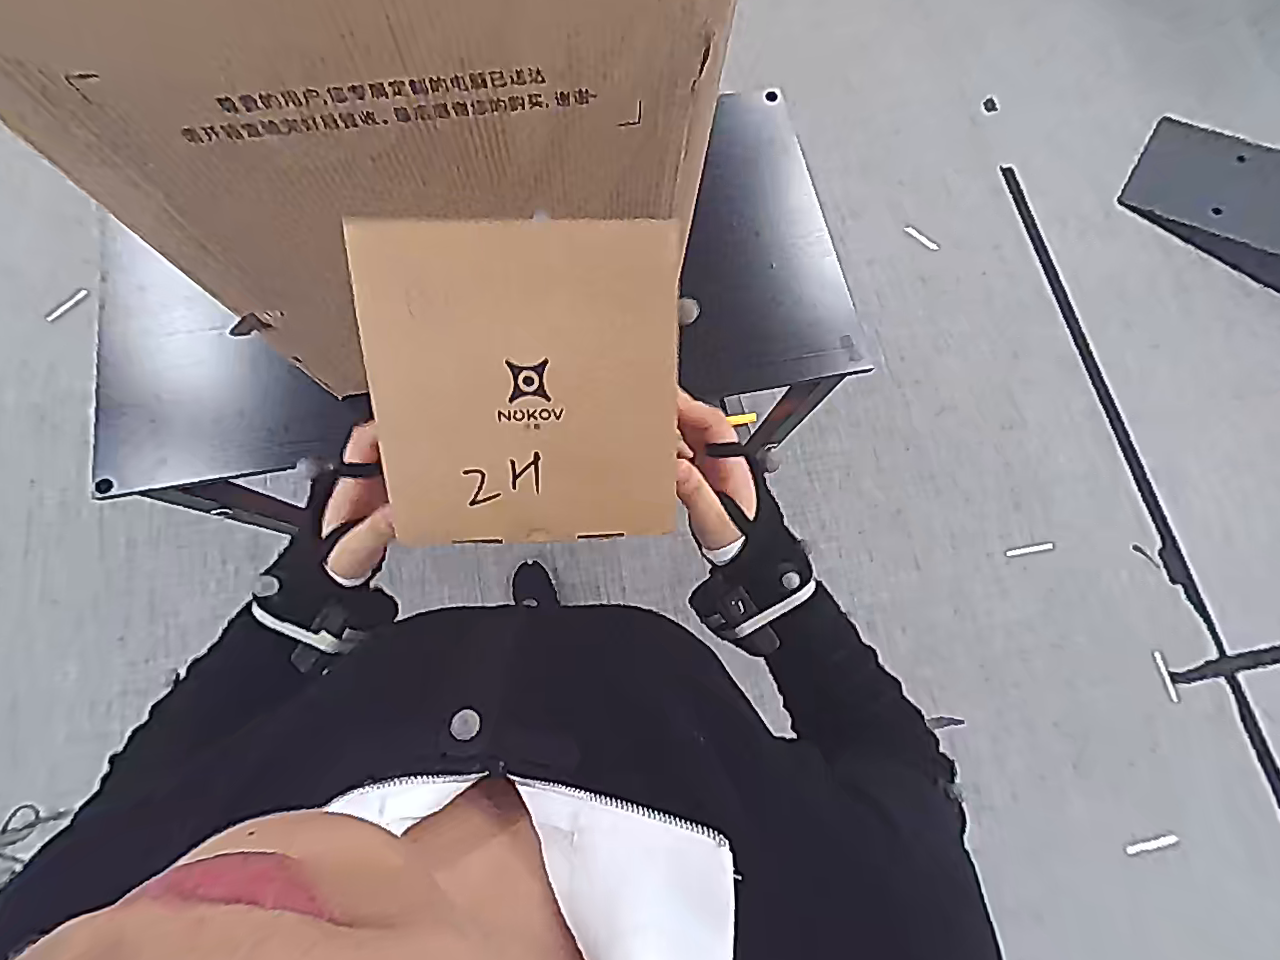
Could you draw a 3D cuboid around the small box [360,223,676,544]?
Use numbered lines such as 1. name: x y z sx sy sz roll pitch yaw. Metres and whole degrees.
1. small box: -0.067 -0.070 0.380 0.168 0.176 0.179 -3 107 -3
